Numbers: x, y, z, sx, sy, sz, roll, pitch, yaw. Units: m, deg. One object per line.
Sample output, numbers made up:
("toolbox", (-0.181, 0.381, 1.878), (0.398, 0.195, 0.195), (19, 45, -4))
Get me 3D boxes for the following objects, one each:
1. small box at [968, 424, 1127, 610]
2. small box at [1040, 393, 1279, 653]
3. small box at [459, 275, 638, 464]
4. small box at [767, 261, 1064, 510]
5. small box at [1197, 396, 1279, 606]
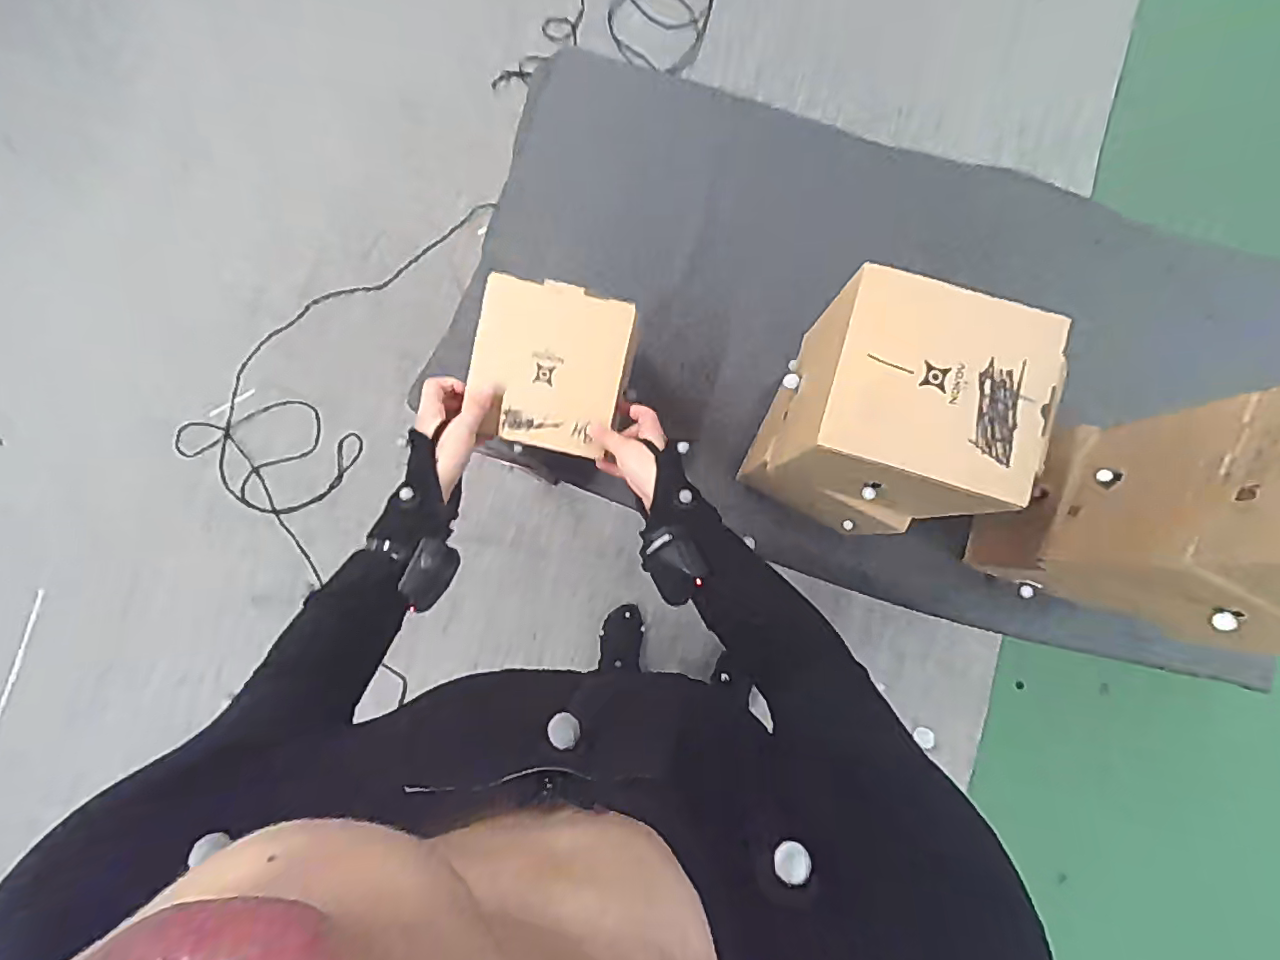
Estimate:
("small box", (0.544, 0.052, 0.668), (0.168, 0.176, 0.179), (18, 84, 3))
("small box", (0.539, 0.047, 0.505), (0.179, 0.176, 0.168), (28, 84, 5))
("small box", (-0.102, -0.125, 0.668), (0.168, 0.176, 0.179), (13, 94, -1))
("small box", (0.242, -0.072, 0.517), (0.179, 0.176, 0.168), (17, 83, 3))
("small box", (0.541, 0.025, 0.342), (0.179, 0.176, 0.168), (30, 84, 5))
